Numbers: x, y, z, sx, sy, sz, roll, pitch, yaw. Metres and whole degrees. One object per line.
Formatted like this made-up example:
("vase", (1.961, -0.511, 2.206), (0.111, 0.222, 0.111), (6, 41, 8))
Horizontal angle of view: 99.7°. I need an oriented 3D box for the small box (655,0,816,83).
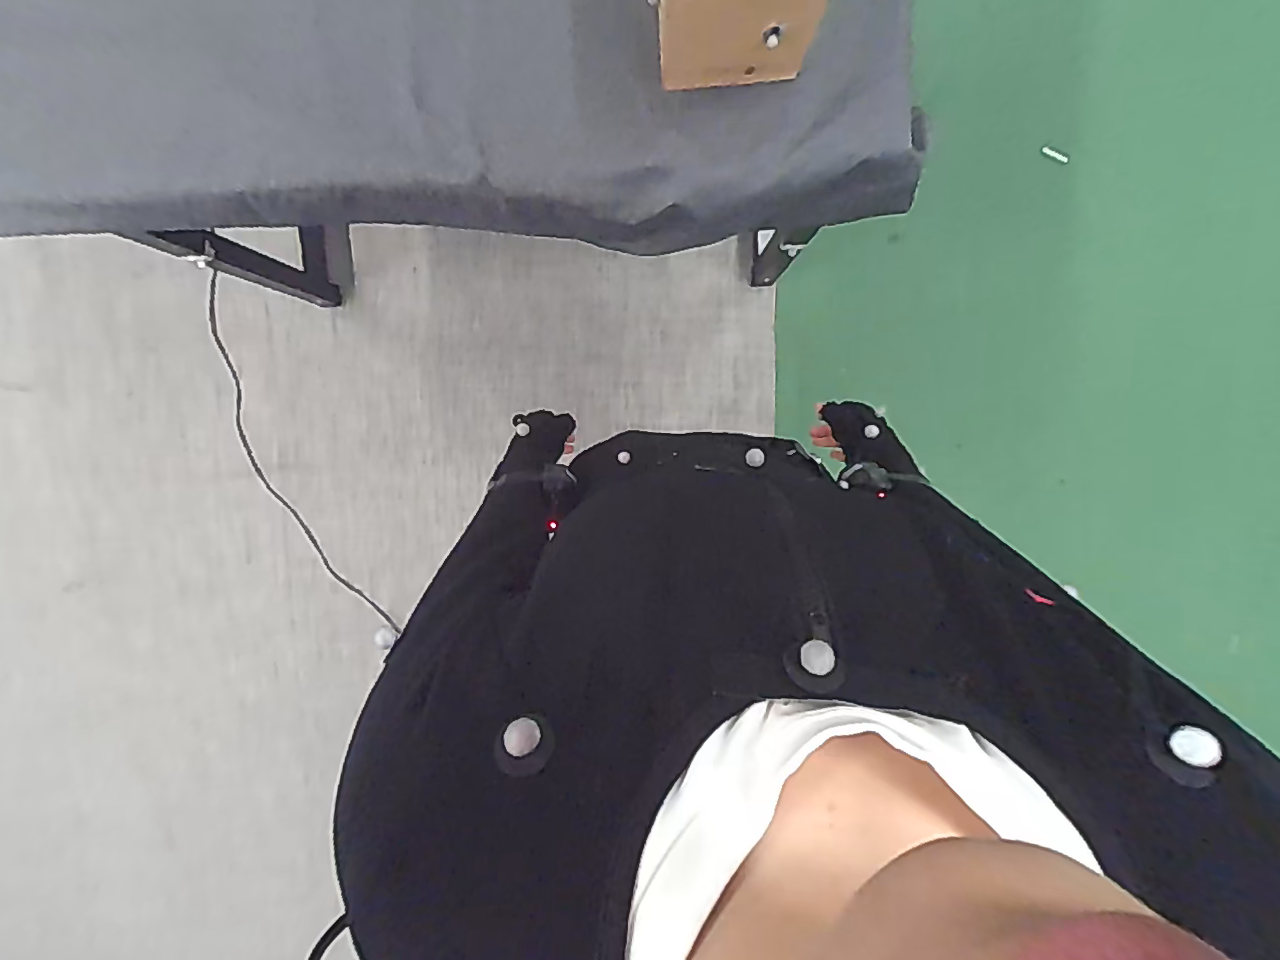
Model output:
("small box", (0.101, -0.570, 0.589), (0.168, 0.176, 0.179), (-4, 95, 1))
